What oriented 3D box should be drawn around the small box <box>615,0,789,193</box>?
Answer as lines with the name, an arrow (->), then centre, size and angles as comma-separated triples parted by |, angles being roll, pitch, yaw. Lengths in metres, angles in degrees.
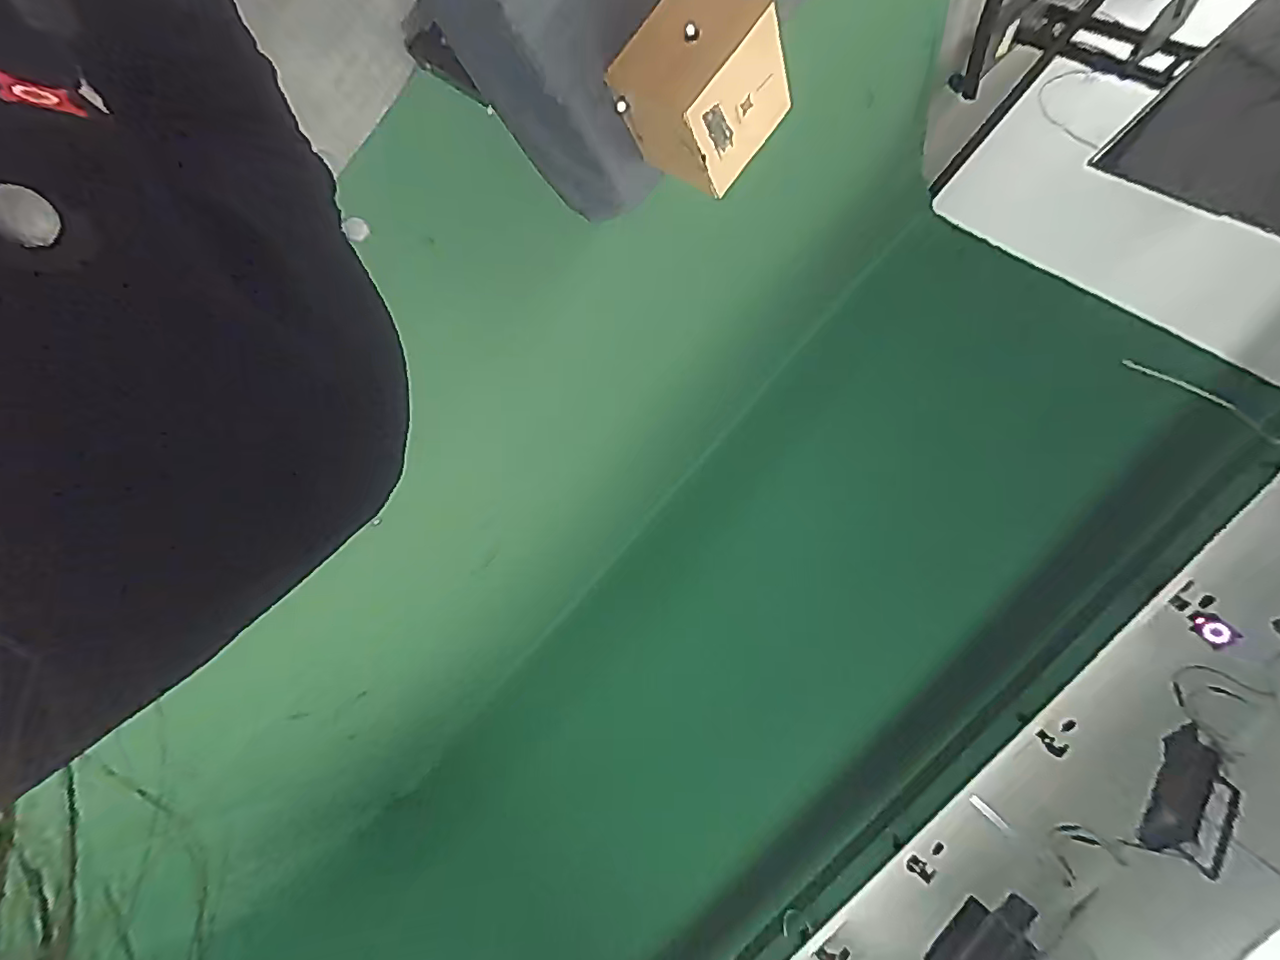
small box -> 0.086, -0.570, 0.786 | 0.179, 0.176, 0.168 | -51, 155, 5
